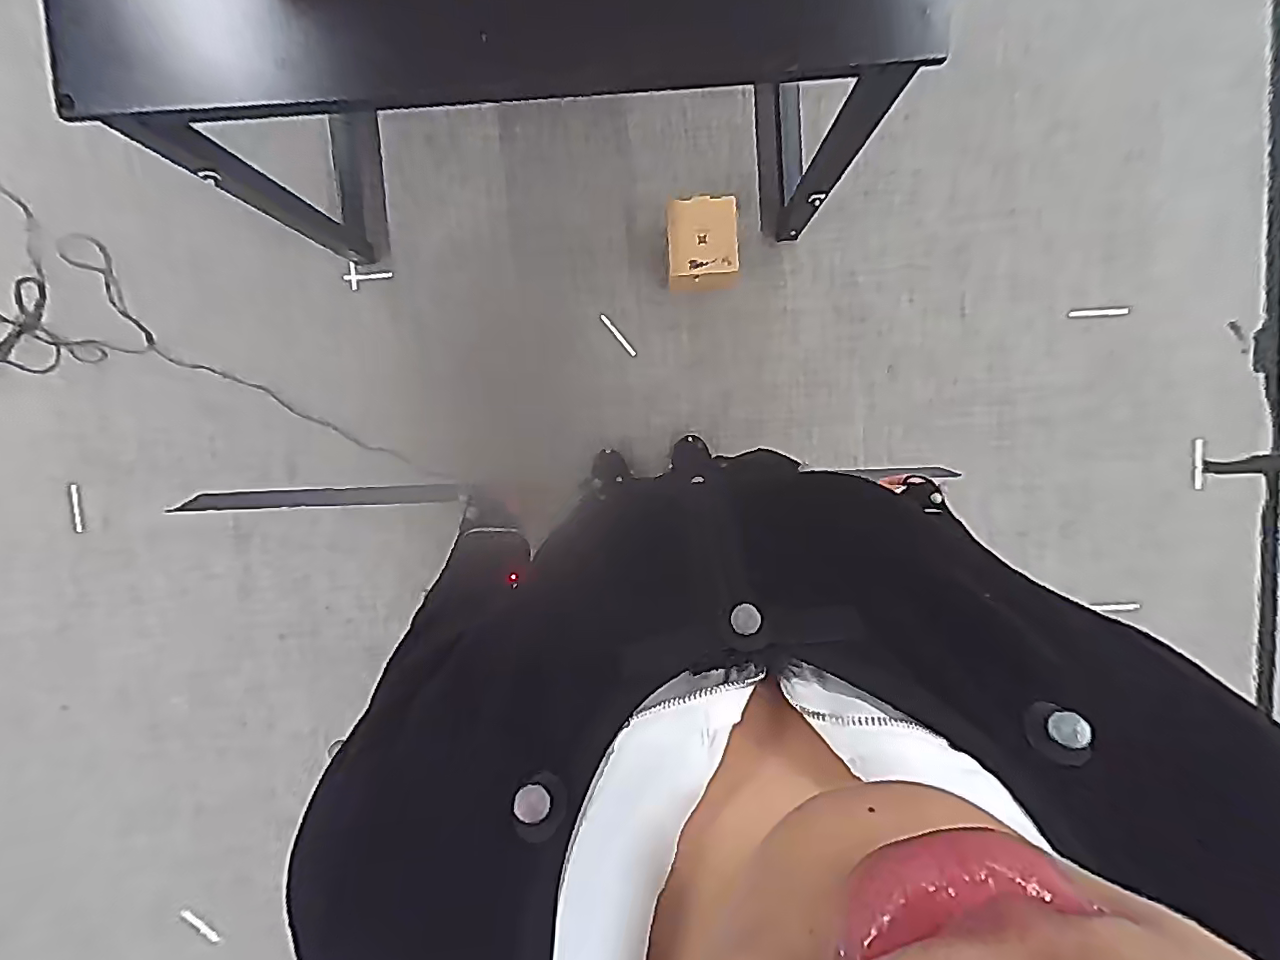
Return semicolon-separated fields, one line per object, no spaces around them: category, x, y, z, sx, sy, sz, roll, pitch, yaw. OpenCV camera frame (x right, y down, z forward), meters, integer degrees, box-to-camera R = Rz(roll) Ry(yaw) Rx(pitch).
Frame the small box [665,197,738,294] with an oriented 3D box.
small box;0.150;-0.583;1.362;0.168;0.176;0.179;-3;94;3
